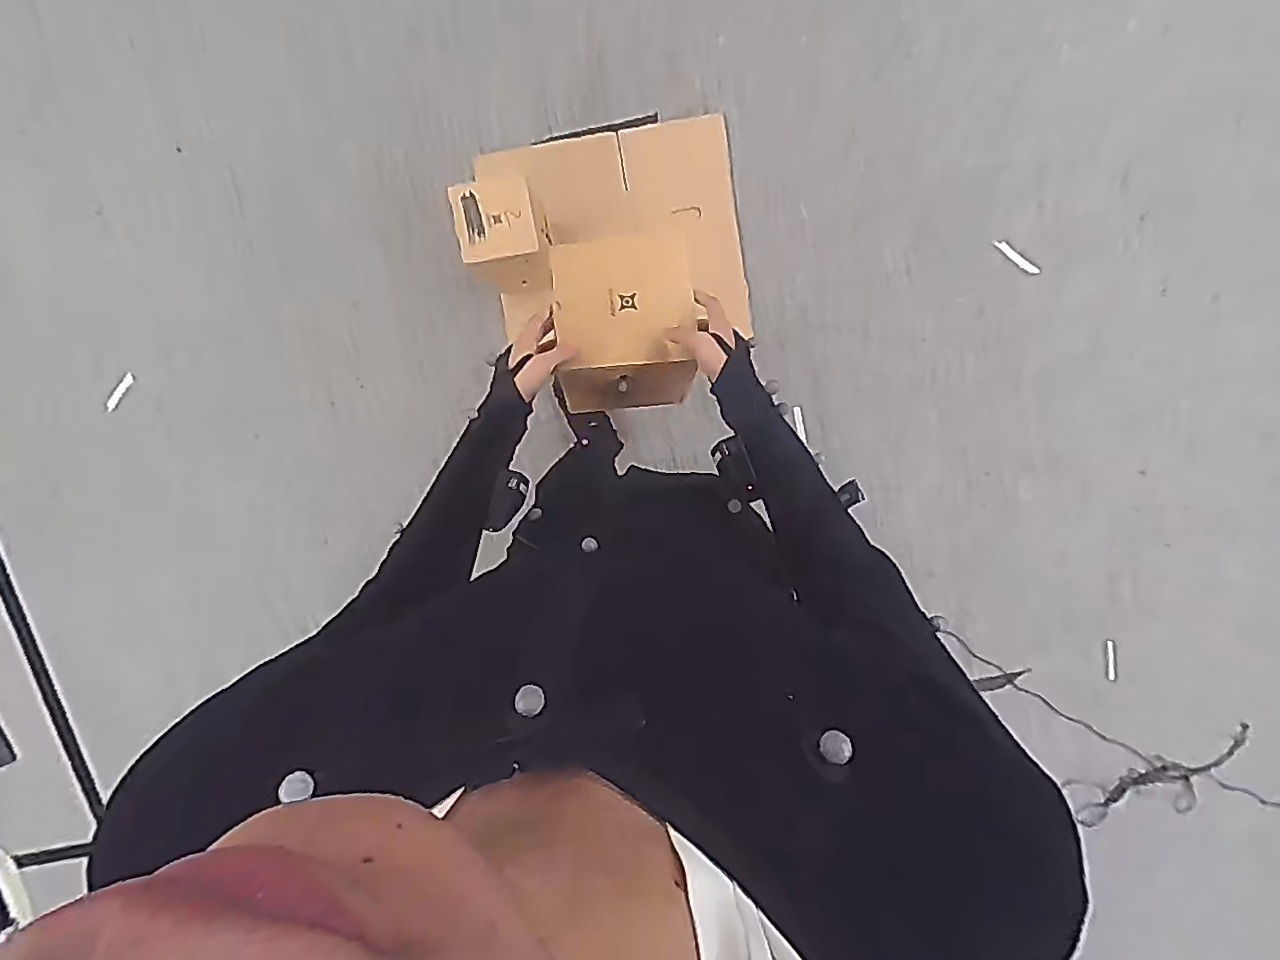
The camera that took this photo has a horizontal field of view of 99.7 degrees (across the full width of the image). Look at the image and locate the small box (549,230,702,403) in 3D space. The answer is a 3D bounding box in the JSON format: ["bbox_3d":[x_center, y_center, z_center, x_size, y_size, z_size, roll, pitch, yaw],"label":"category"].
[{"bbox_3d":[-0.021,-0.211,0.733,0.179,0.176,0.168,-6,81,-2],"label":"small box"}]

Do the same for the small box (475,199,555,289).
[{"bbox_3d":[-0.314,-0.616,1.429,0.179,0.176,0.168,-10,99,1],"label":"small box"}]
